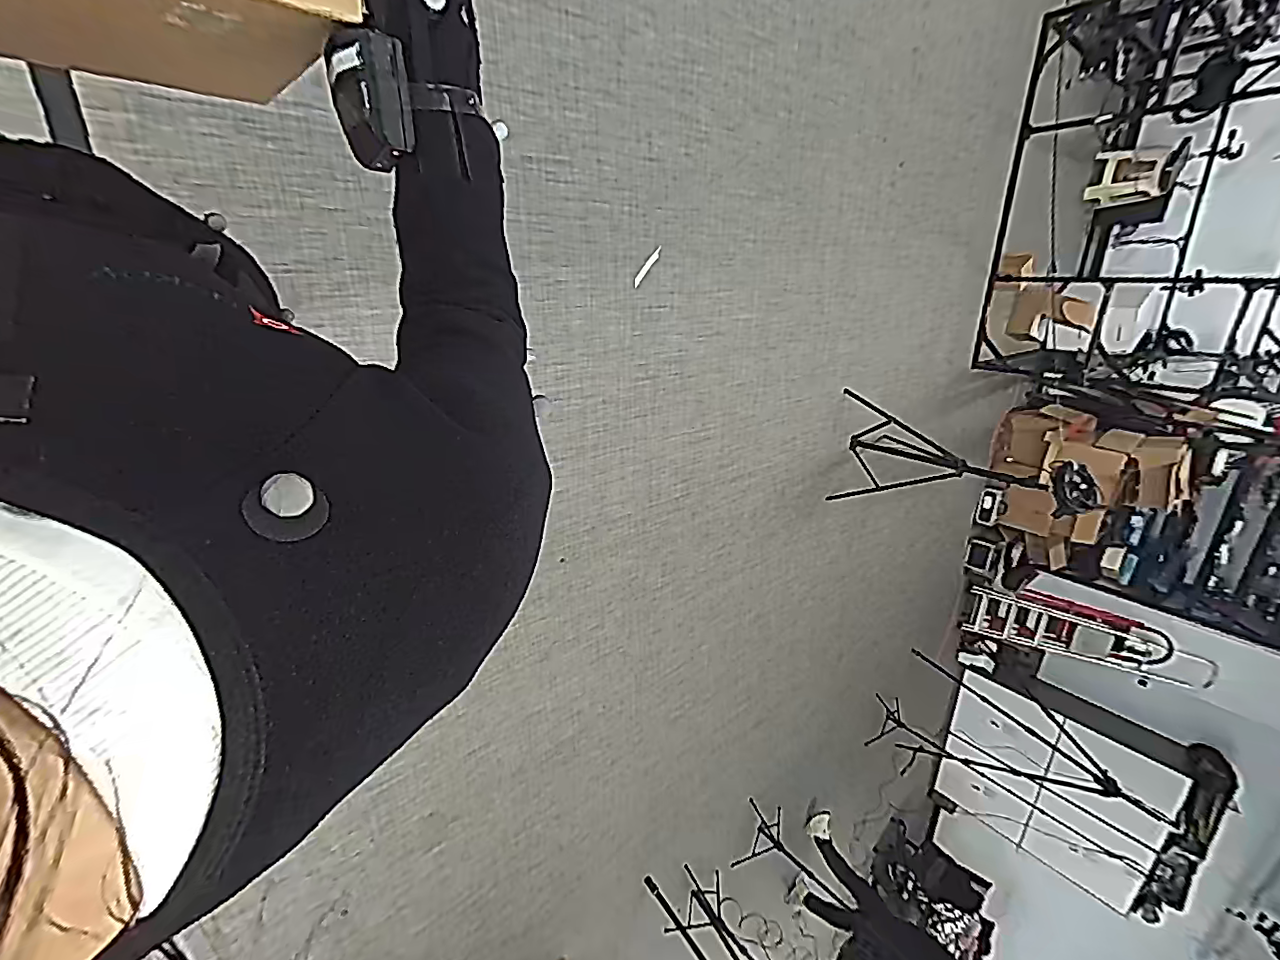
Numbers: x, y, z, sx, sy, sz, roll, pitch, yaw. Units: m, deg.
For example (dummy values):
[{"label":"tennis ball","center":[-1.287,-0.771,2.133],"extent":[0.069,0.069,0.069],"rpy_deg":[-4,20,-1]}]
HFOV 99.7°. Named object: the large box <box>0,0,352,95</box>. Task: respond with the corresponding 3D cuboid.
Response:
[{"label":"large box","center":[-0.411,-0.413,0.239],"extent":[0.408,0.320,0.320],"rpy_deg":[-17,121,-39]}]
